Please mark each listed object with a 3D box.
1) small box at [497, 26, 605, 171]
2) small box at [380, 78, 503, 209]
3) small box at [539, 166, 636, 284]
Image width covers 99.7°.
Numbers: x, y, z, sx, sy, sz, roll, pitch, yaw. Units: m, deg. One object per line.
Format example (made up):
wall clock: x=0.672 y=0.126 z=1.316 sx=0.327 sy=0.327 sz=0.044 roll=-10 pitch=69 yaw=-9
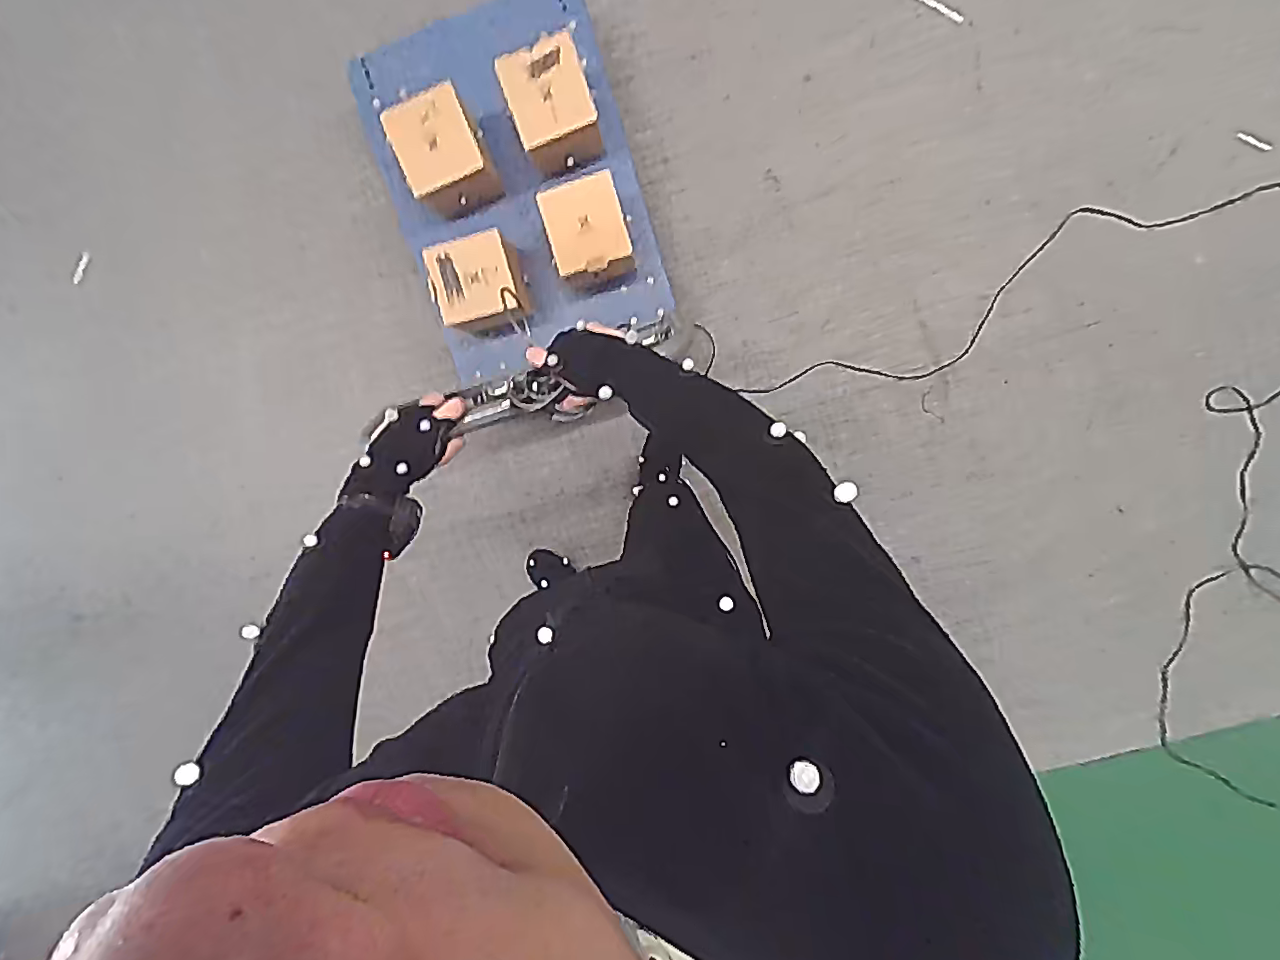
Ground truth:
small box: x=-0.184 y=-0.811 z=1.169 sx=0.168 sy=0.176 sz=0.179 roll=-19 pitch=100 yaw=6
small box: x=-0.426 y=-0.725 z=1.194 sx=0.168 sy=0.176 sz=0.179 roll=-21 pitch=99 yaw=5
small box: x=-0.111 y=-0.563 z=1.216 sx=0.168 sy=0.176 sz=0.179 roll=-16 pitch=100 yaw=5
